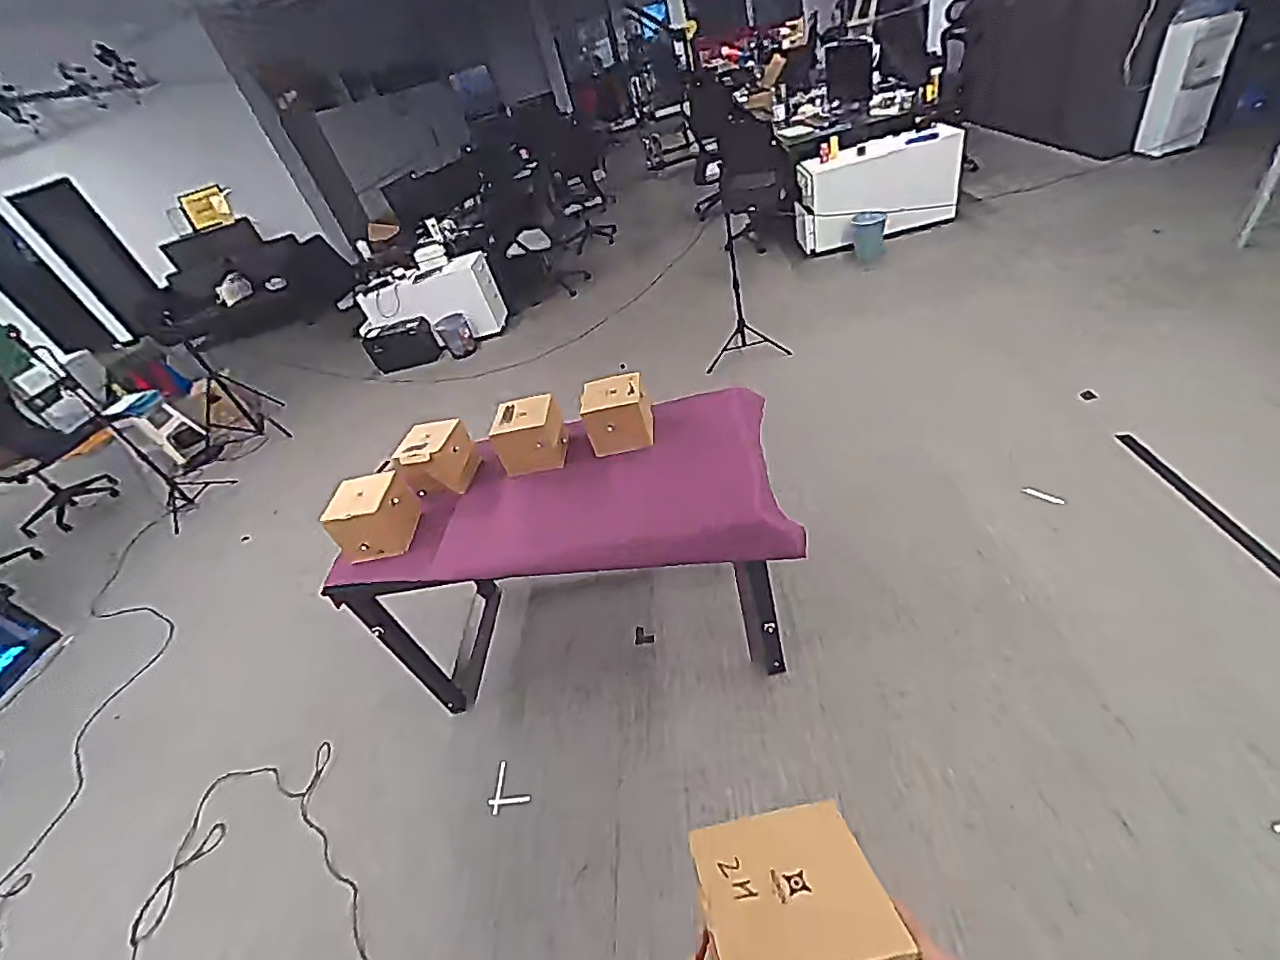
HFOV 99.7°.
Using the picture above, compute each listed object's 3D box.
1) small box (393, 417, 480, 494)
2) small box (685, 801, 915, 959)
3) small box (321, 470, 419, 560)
[{"bbox_3d":[-0.625,-0.069,1.687,0.168,0.176,0.179,-6,40,14],"label":"small box"},{"bbox_3d":[0.154,0.479,0.556,0.179,0.176,0.168,-10,16,-5],"label":"small box"},{"bbox_3d":[-0.752,0.100,1.531,0.168,0.176,0.179,-11,40,5],"label":"small box"}]
